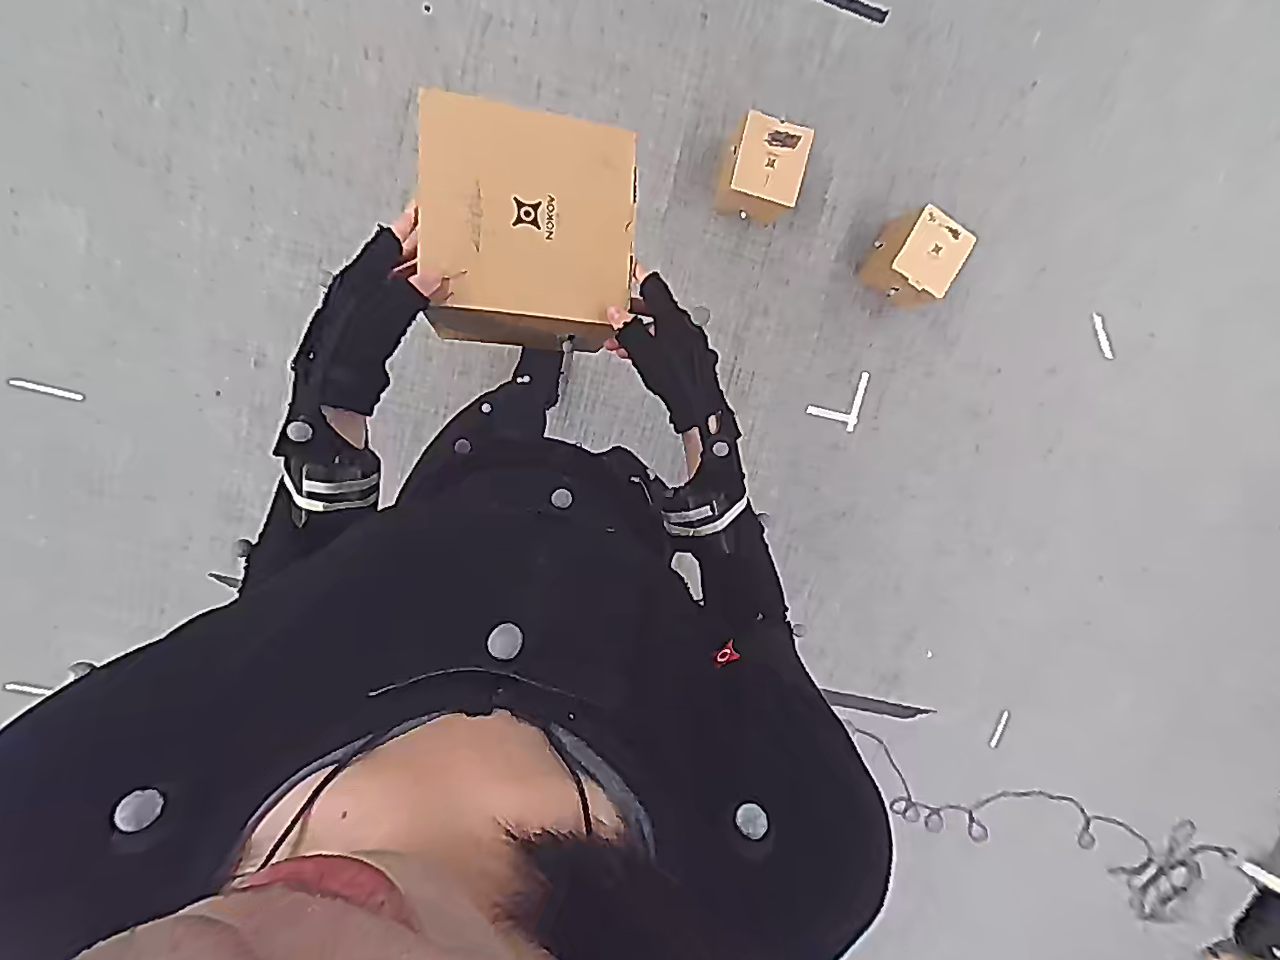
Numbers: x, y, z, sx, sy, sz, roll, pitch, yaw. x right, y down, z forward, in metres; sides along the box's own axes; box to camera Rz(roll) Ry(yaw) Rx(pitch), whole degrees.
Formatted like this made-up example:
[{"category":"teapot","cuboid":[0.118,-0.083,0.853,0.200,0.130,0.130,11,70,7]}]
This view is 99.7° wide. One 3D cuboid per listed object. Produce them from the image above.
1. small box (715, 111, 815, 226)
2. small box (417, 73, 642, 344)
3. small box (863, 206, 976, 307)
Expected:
[{"category":"small box","cuboid":[0.297,-0.754,1.327,0.168,0.176,0.179,12,100,-10]},{"category":"small box","cuboid":[-0.105,-0.229,0.509,0.179,0.176,0.168,1,93,-14]},{"category":"small box","cuboid":[0.721,-0.576,1.422,0.168,0.176,0.179,28,97,-12]}]
